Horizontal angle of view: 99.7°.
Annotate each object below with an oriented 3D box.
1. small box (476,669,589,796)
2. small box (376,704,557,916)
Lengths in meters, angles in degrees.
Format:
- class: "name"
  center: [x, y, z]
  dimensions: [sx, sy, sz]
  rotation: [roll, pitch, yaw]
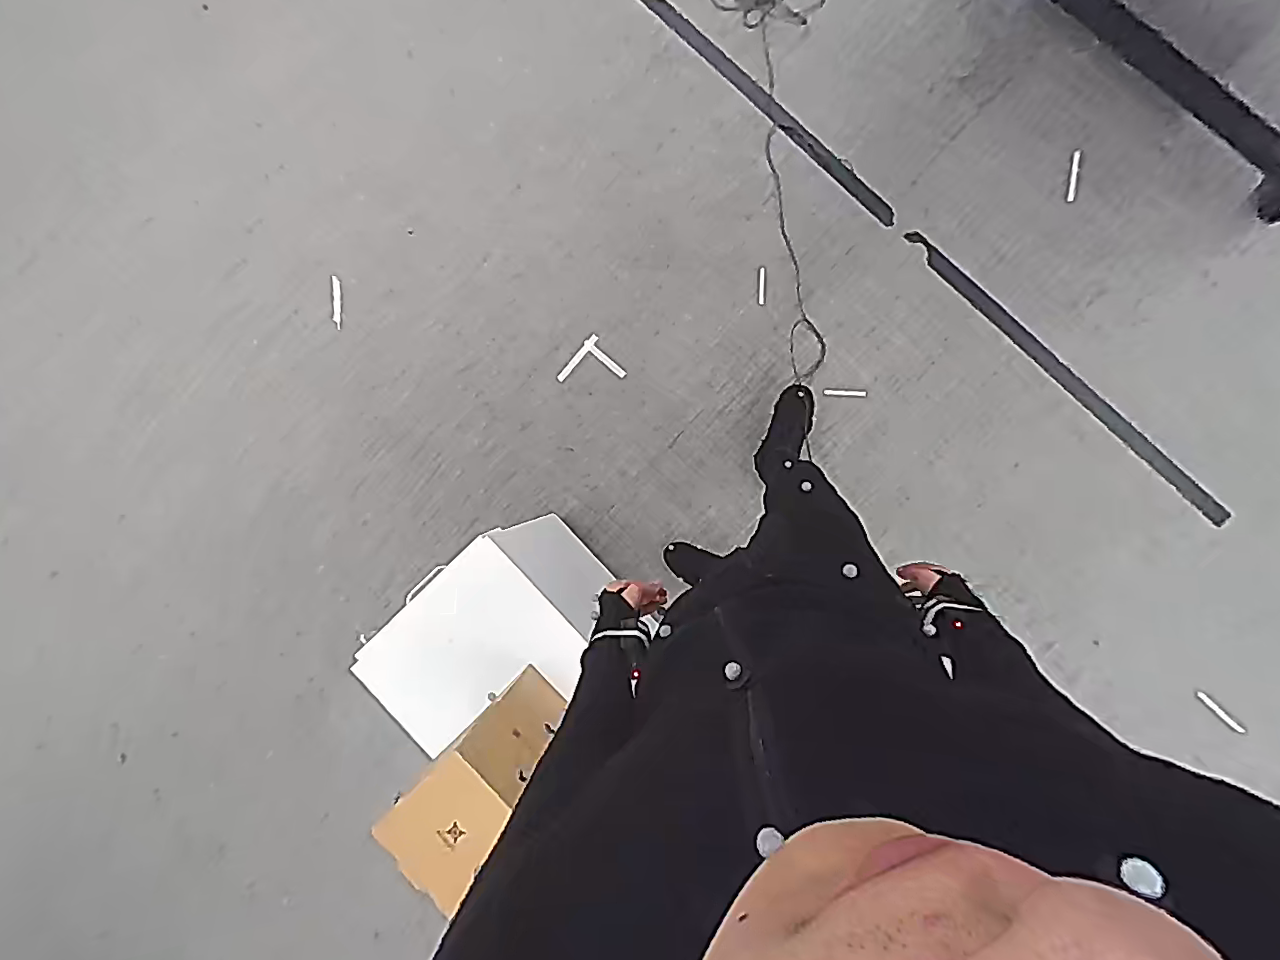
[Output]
- class: "small box"
  center: [-0.214, 0.477, 0.977]
  dimensions: [0.179, 0.176, 0.168]
  rotation: [44, 93, 4]
- class: "small box"
  center: [-0.244, 0.479, 0.817]
  dimensions: [0.179, 0.176, 0.168]
  rotation: [-45, 87, 4]
